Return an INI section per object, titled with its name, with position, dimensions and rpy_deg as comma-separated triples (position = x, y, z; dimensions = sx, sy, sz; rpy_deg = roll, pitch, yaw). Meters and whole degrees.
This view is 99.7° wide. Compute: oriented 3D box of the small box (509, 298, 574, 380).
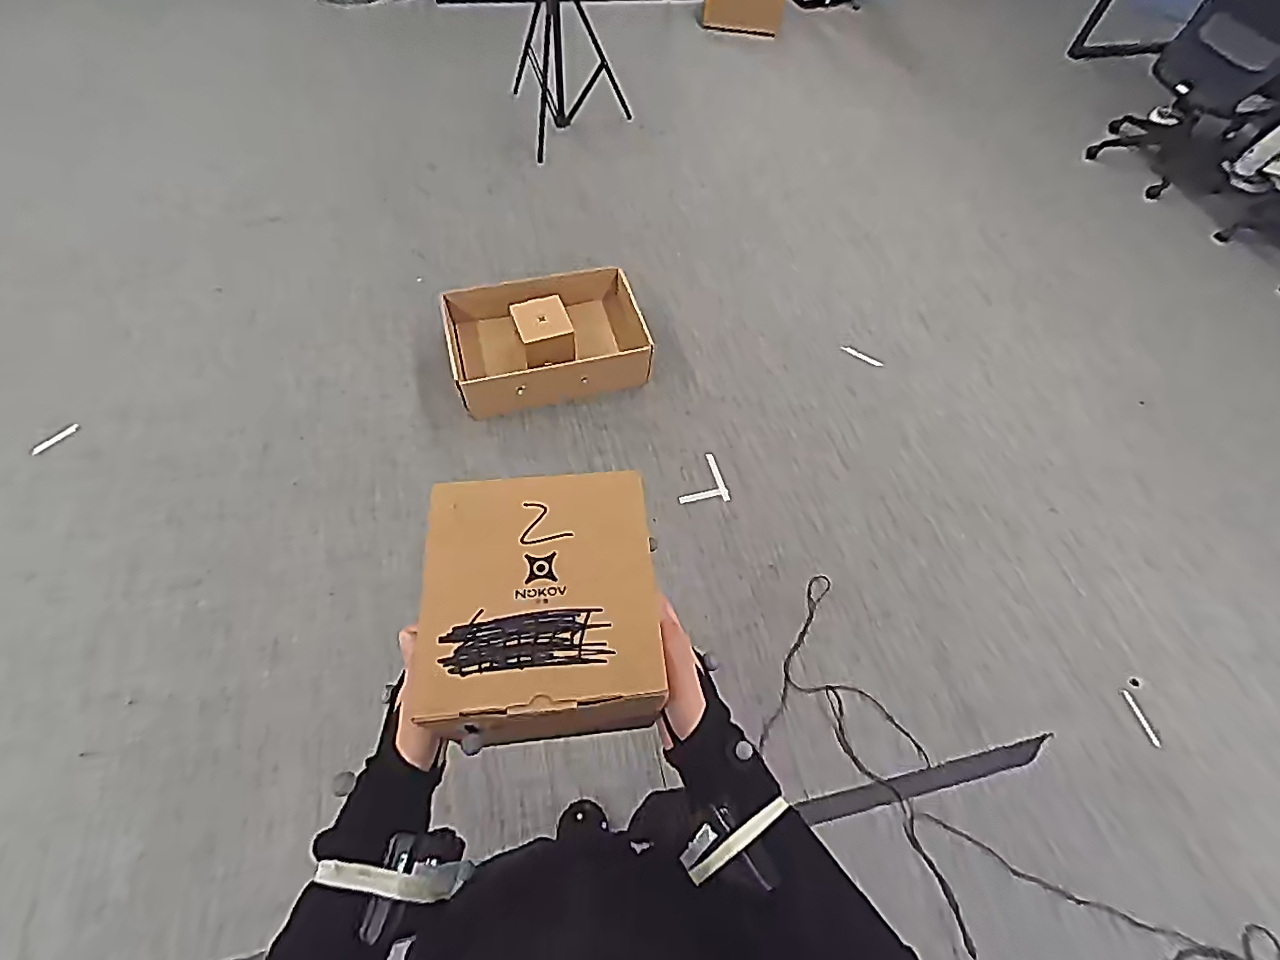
[small box]
position = -0.320, -0.459, 1.772
dimensions = 0.168, 0.176, 0.179
rpy_deg = -19, 64, -14
